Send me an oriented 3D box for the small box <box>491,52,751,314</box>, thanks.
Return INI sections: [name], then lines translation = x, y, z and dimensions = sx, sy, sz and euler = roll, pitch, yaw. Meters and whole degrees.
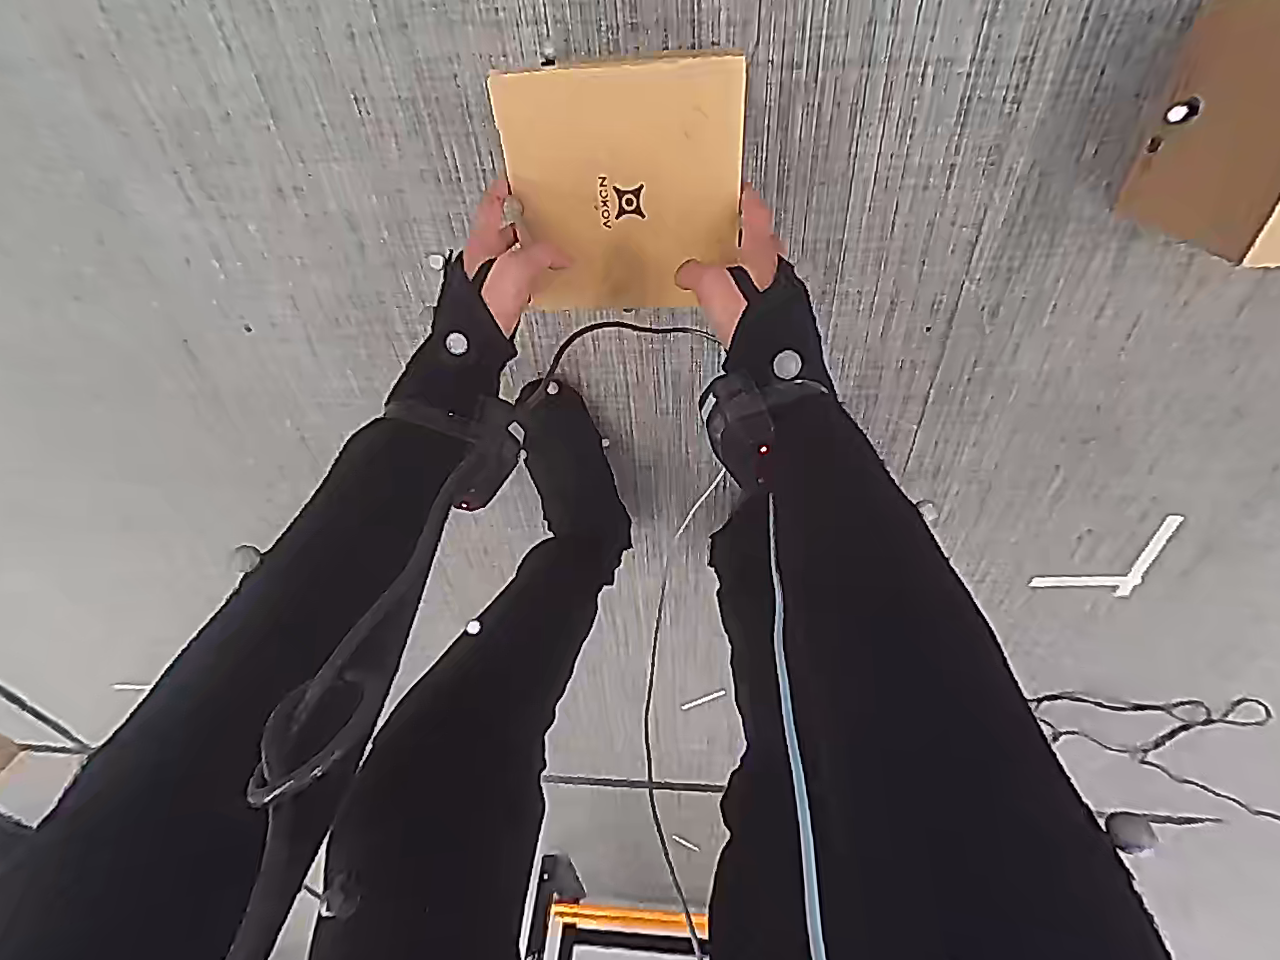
[small box]
translation = -0.003, -0.255, 0.463
dimensions = 0.179, 0.176, 0.168
euler = 2, 130, 7
